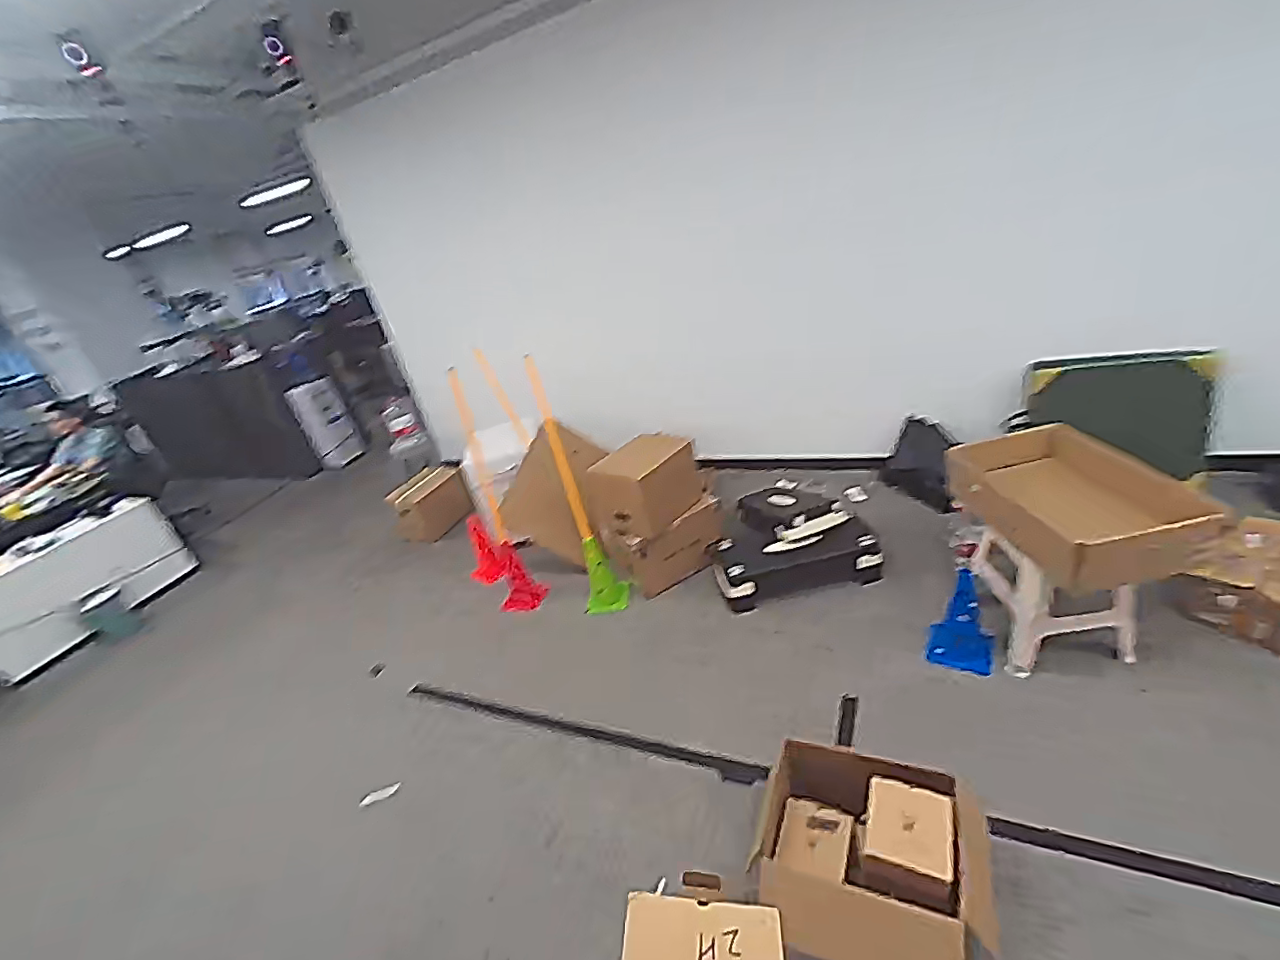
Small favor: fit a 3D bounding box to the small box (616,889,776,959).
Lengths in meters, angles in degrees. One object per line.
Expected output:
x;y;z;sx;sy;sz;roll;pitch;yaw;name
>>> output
0.052;0.575;0.565;0.168;0.176;0.179;5;32;4;small box
